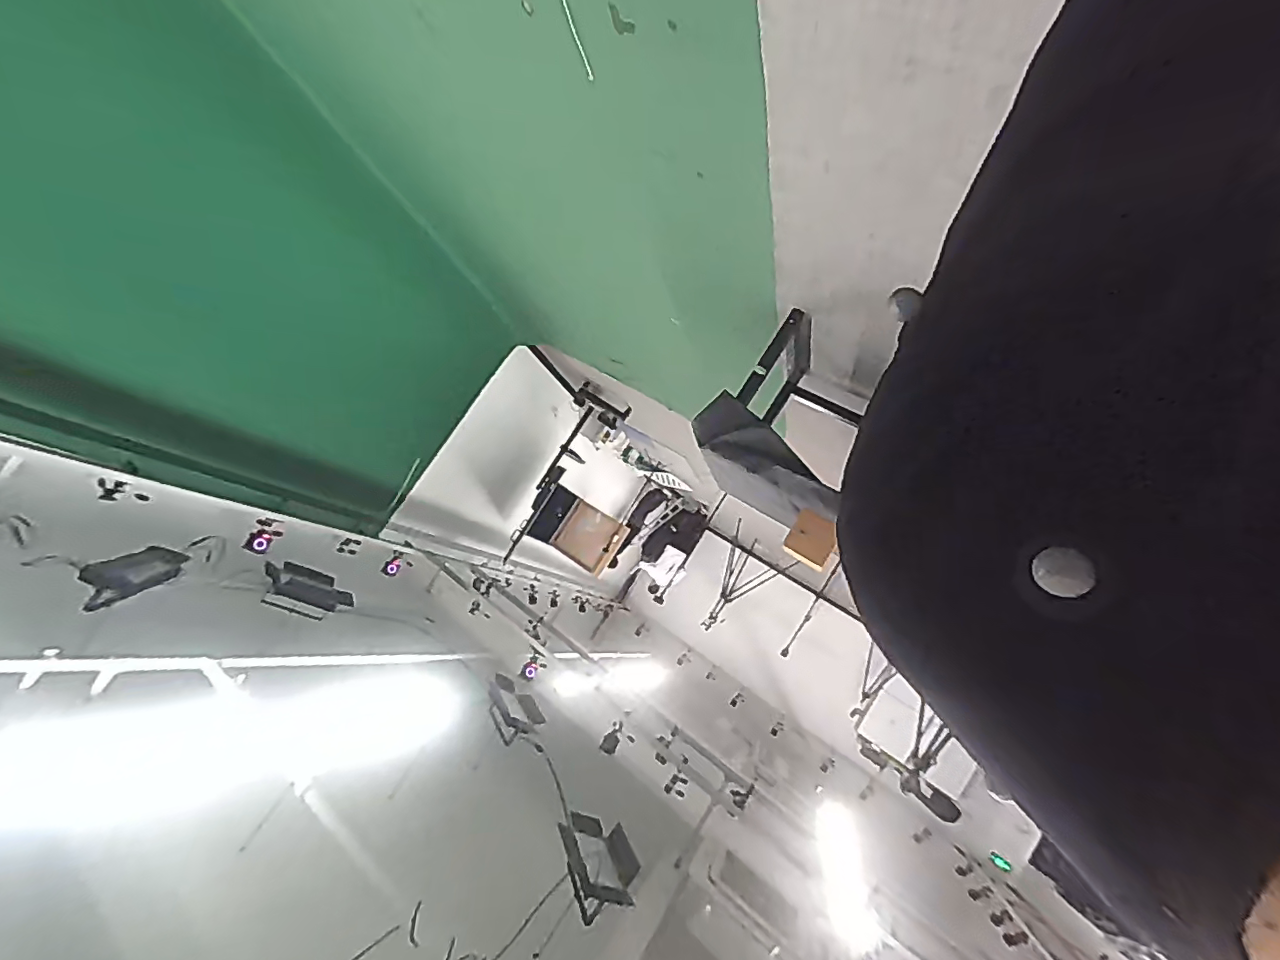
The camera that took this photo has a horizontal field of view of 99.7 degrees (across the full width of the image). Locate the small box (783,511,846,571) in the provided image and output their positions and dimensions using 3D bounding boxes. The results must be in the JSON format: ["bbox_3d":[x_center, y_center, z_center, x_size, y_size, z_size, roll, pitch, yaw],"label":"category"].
[{"bbox_3d":[0.690,0.236,2.142,0.179,0.176,0.168,30,175,23],"label":"small box"}]
